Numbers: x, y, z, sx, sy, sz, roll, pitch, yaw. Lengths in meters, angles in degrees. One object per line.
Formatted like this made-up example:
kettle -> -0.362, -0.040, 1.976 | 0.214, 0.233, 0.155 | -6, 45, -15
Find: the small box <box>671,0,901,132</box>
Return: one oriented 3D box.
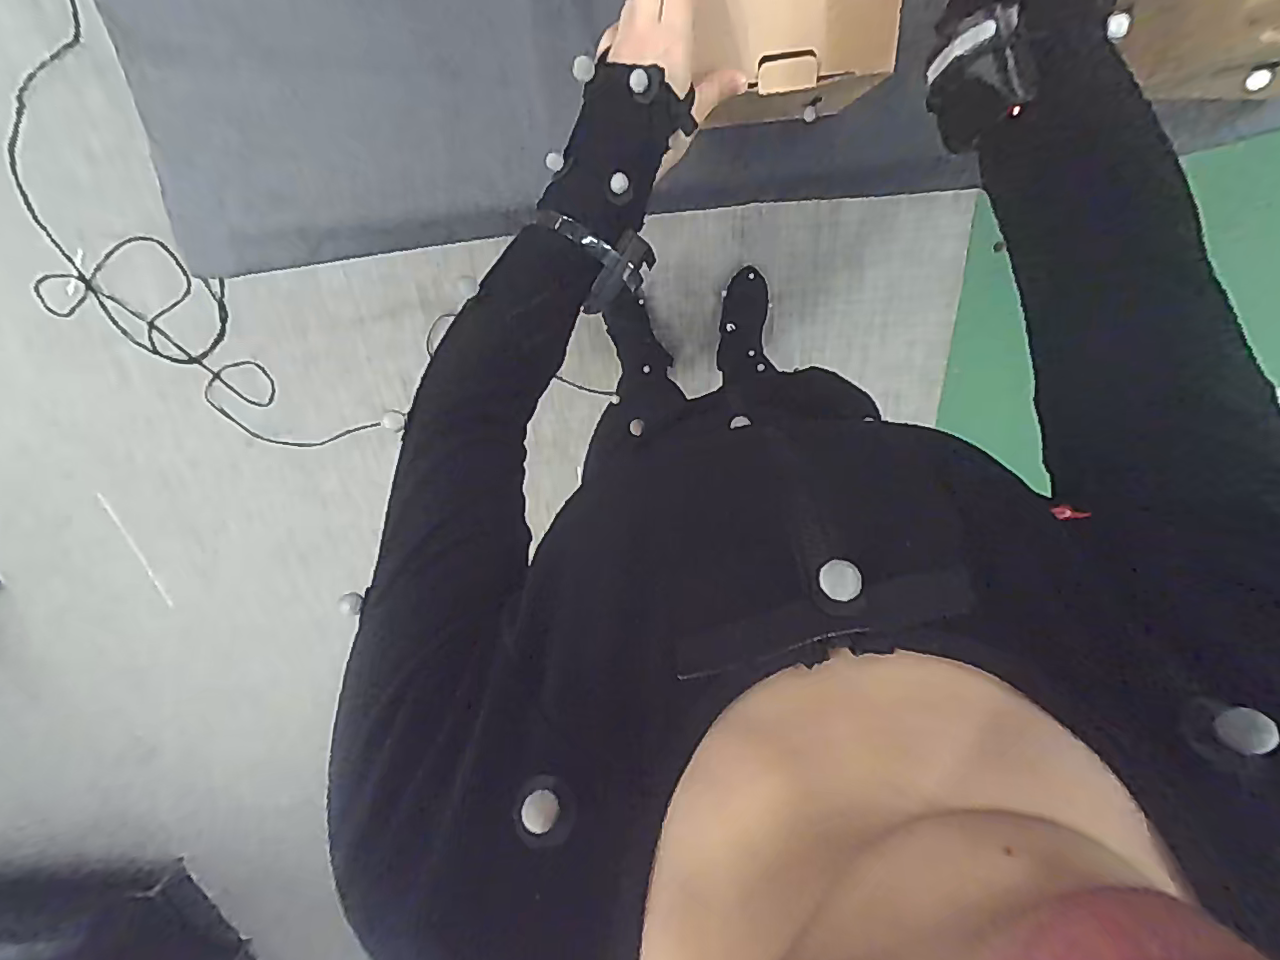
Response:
small box -> 0.110, -0.408, 0.454 | 0.168, 0.176, 0.179 | -3, 114, 5
